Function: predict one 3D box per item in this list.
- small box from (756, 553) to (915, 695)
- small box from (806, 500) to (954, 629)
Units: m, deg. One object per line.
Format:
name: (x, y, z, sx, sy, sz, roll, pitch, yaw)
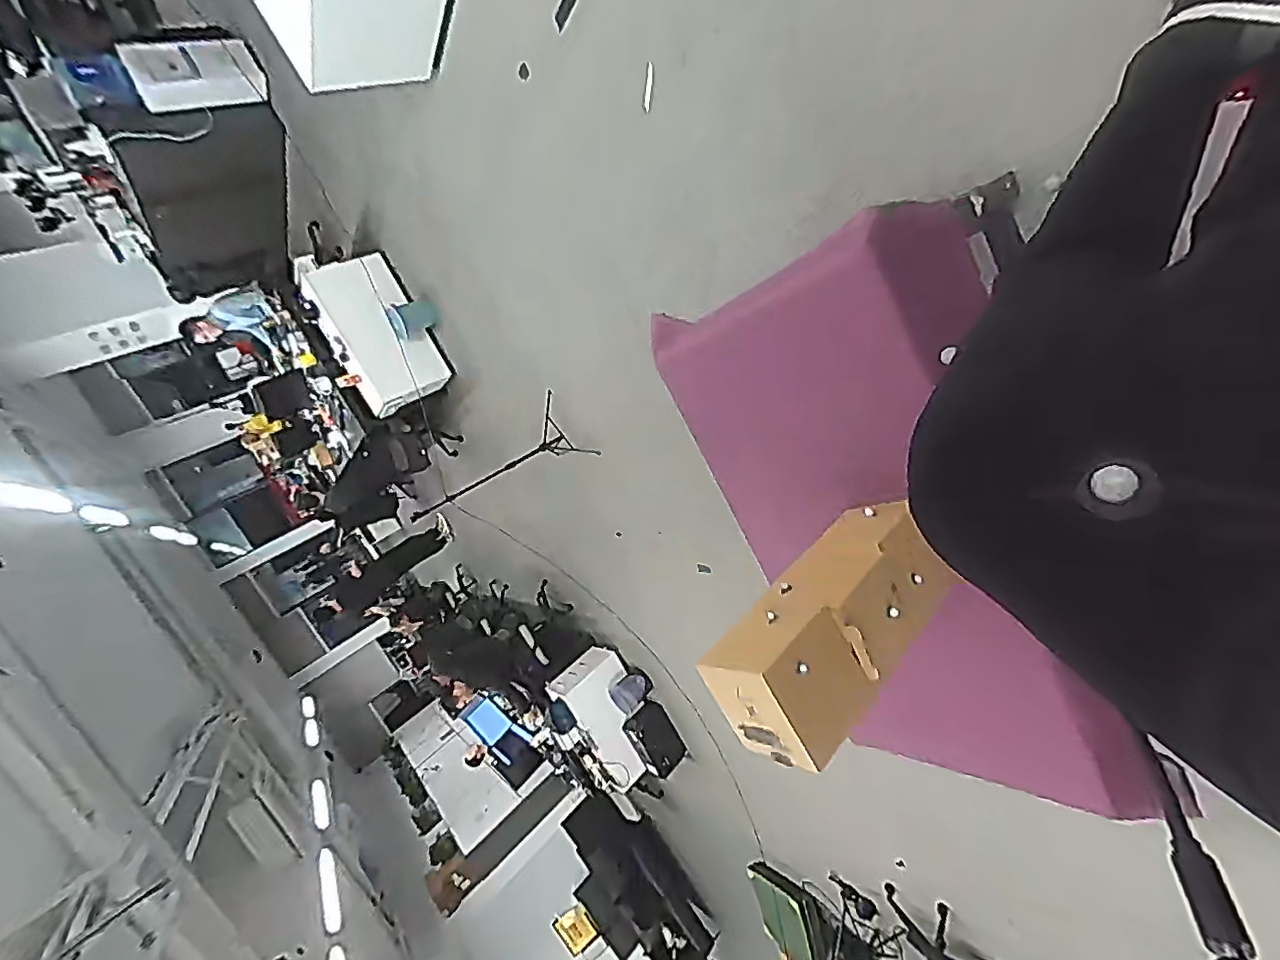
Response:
small box: (0.345, 0.242, 0.956, 0.179, 0.176, 0.168, -10, 111, 56)
small box: (0.463, 0.161, 1.038, 0.179, 0.176, 0.168, 60, 148, -6)
